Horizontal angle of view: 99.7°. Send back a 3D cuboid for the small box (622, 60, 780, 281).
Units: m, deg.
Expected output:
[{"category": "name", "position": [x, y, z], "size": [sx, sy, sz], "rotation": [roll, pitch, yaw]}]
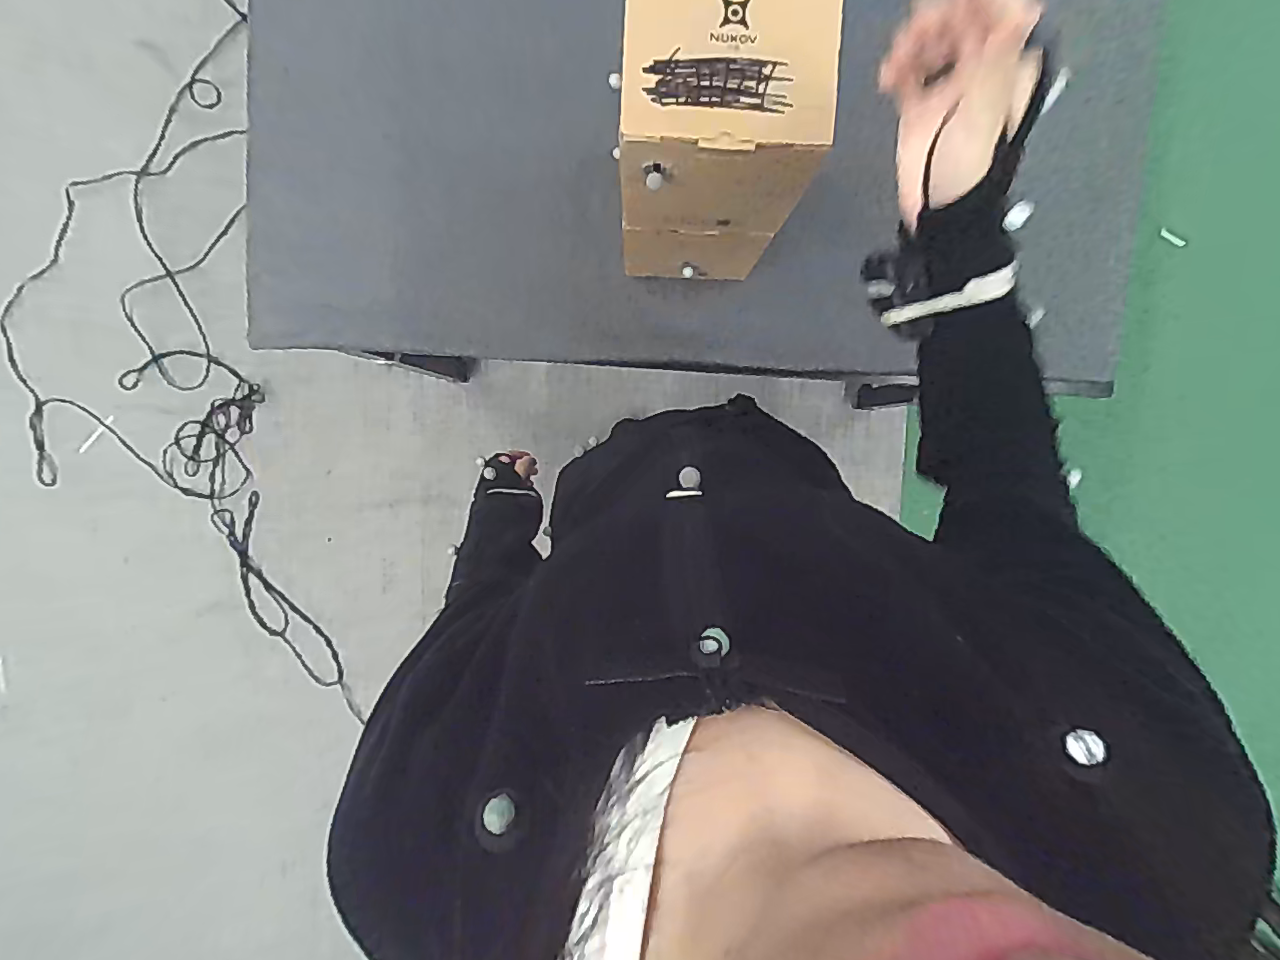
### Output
[{"category": "small box", "position": [0.063, -0.359, 0.657], "size": [0.168, 0.176, 0.179], "rotation": [2, 94, -1]}]
